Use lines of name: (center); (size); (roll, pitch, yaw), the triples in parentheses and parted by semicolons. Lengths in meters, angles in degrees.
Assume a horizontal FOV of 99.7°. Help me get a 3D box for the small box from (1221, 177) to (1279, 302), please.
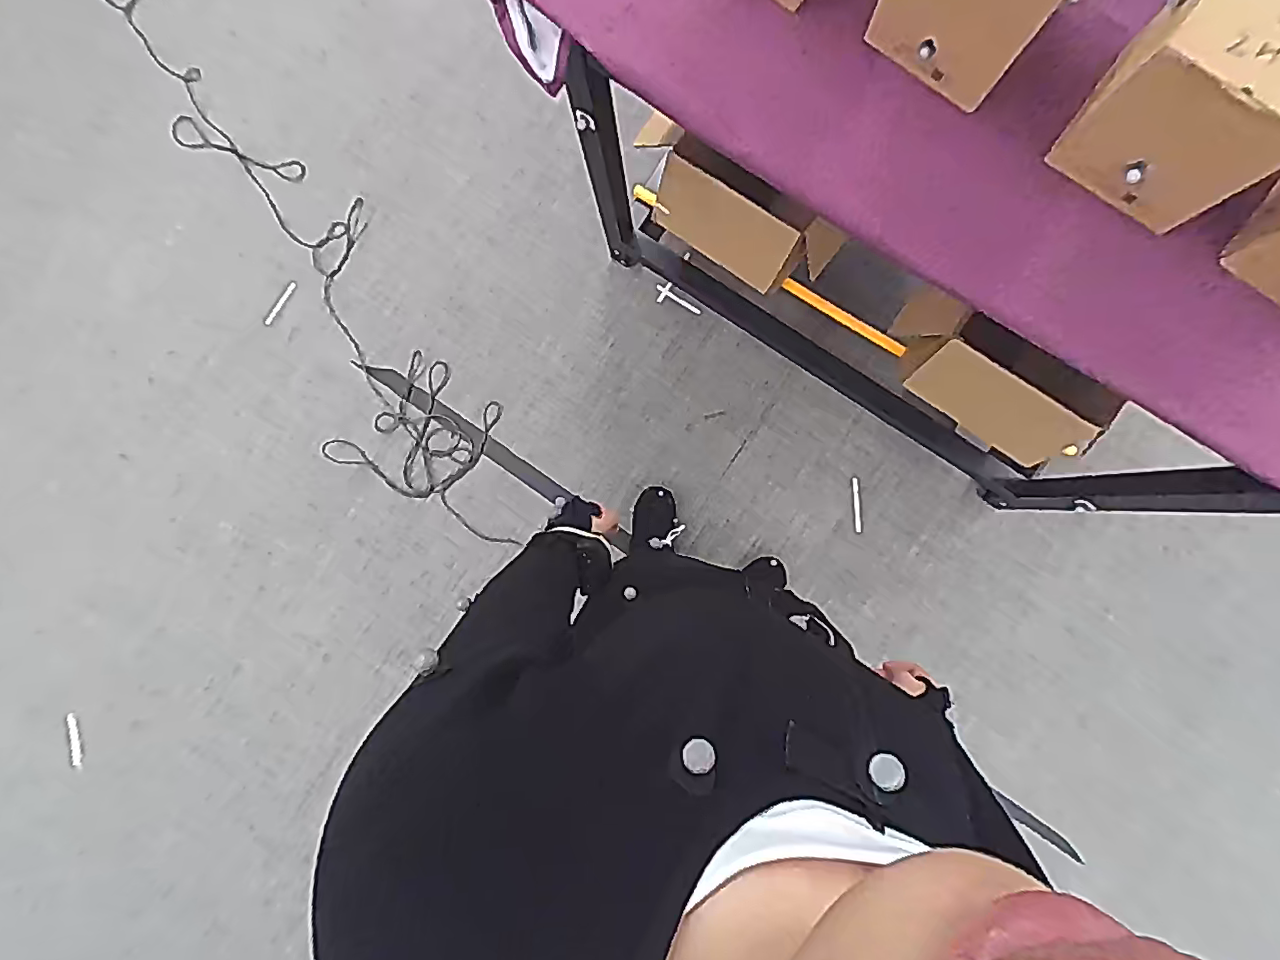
small box: (0.794, -0.275, 0.555); (0.179, 0.176, 0.168); (39, 89, 5)

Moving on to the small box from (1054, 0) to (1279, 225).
small box: (0.600, -0.418, 0.570); (0.168, 0.176, 0.179); (37, 90, 5)
